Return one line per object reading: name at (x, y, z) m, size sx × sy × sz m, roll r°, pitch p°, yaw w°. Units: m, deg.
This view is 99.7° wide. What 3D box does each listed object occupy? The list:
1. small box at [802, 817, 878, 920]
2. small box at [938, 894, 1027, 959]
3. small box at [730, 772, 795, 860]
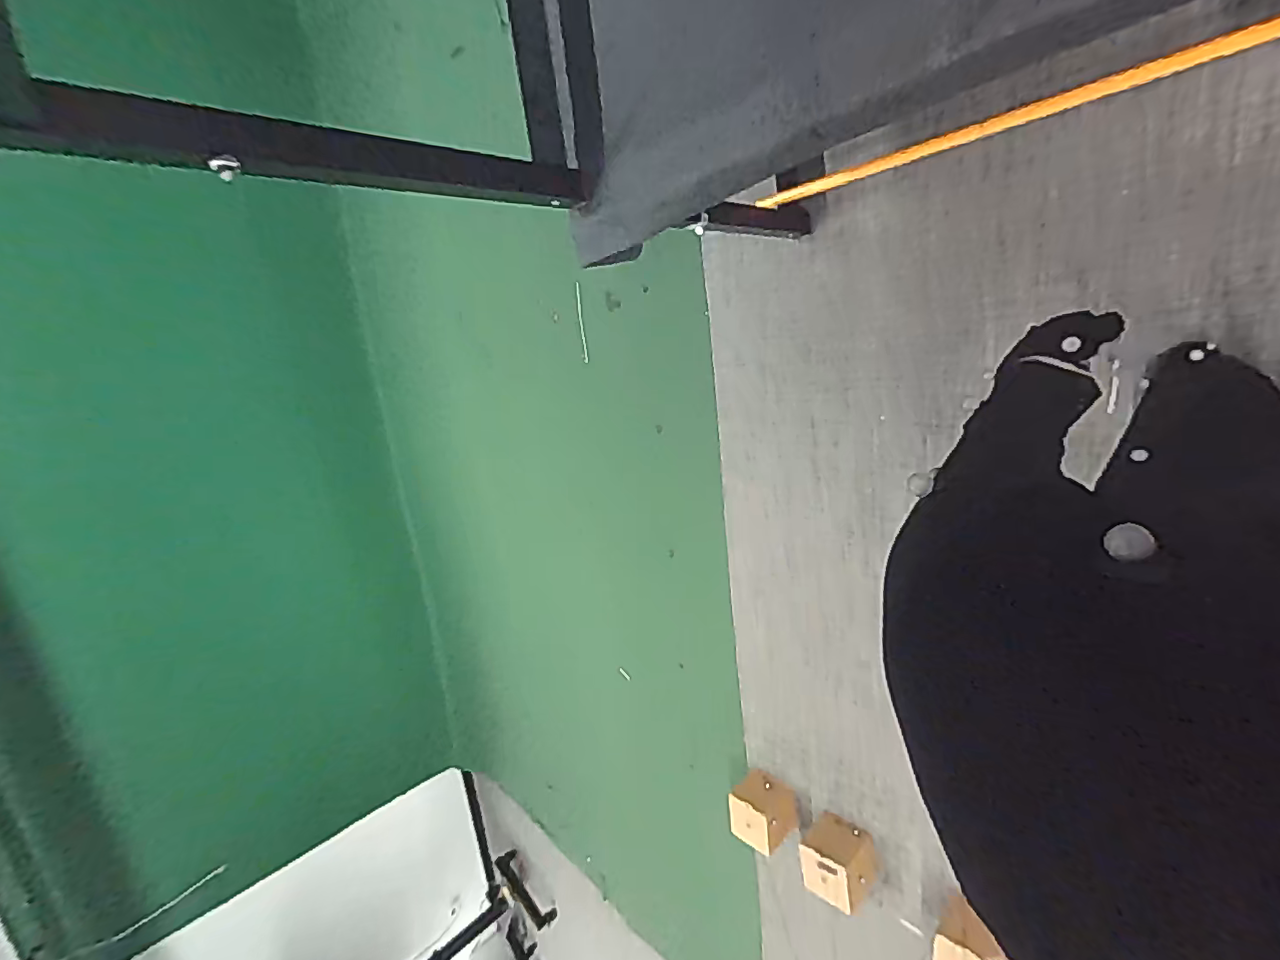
small box at (0.646, 1.238, 1.742) m, size 0.168 × 0.176 × 0.179 m, roll 1°, pitch 105°, yaw 49°
small box at (0.917, 1.283, 1.449) m, size 0.168 × 0.176 × 0.179 m, roll 8°, pitch 108°, yaw 46°
small box at (0.448, 1.208, 1.956) m, size 0.168 × 0.176 × 0.179 m, roll 6°, pitch 107°, yaw 46°
